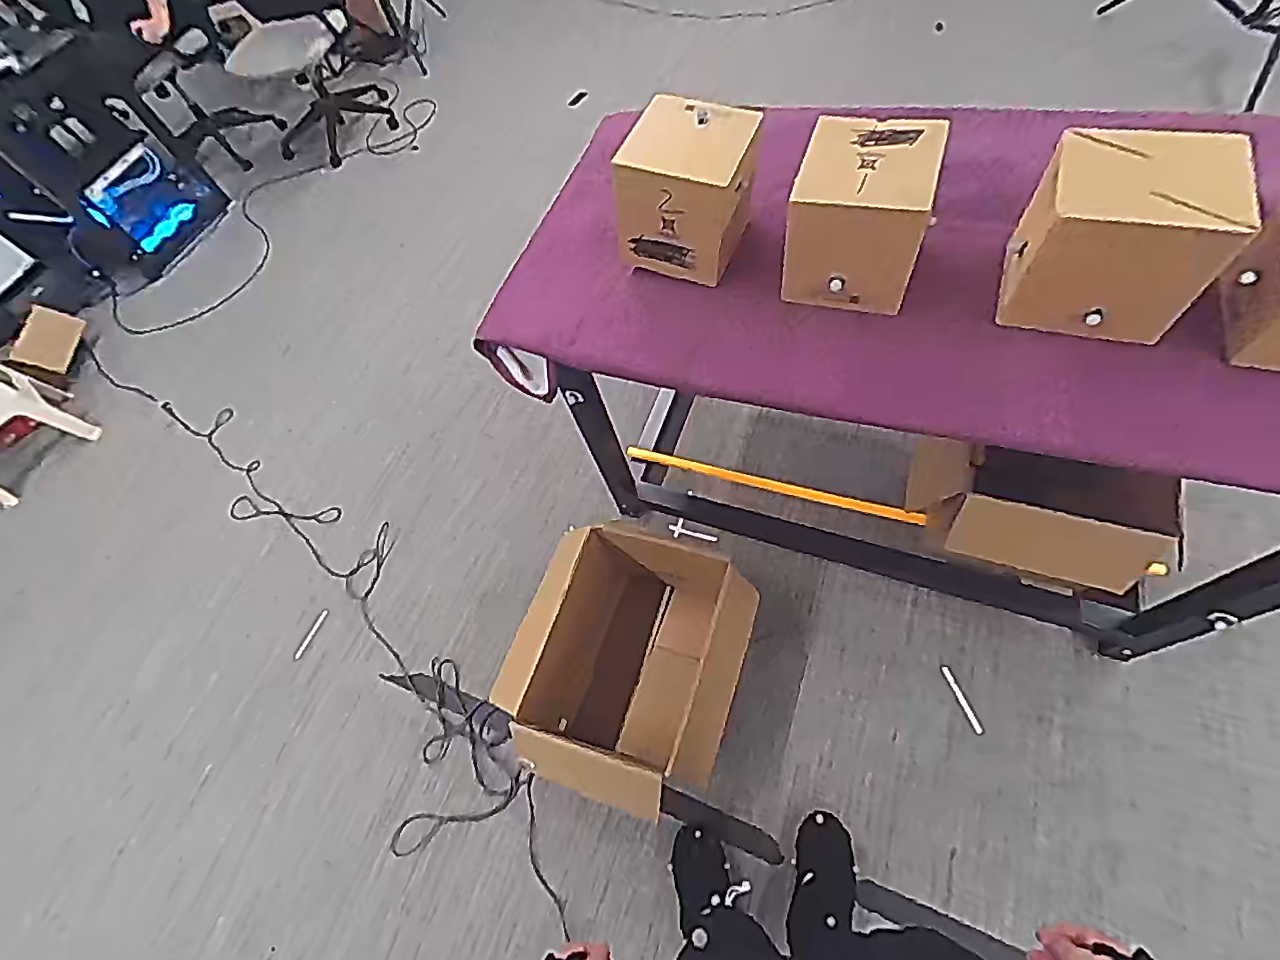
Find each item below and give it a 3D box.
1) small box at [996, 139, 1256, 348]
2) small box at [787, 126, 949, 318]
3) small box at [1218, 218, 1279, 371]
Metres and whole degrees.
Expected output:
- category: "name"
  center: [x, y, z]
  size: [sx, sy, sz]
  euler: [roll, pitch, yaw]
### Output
- category: "small box"
  center: [0.573, -0.292, 0.664]
  size: [0.179, 0.176, 0.168]
  euler: [15, 64, 20]
- category: "small box"
  center: [0.309, -0.359, 0.759]
  size: [0.168, 0.176, 0.179]
  euler: [14, 65, 19]
- category: "small box"
  center: [0.793, -0.221, 0.580]
  size: [0.179, 0.176, 0.168]
  euler: [16, 63, 19]
